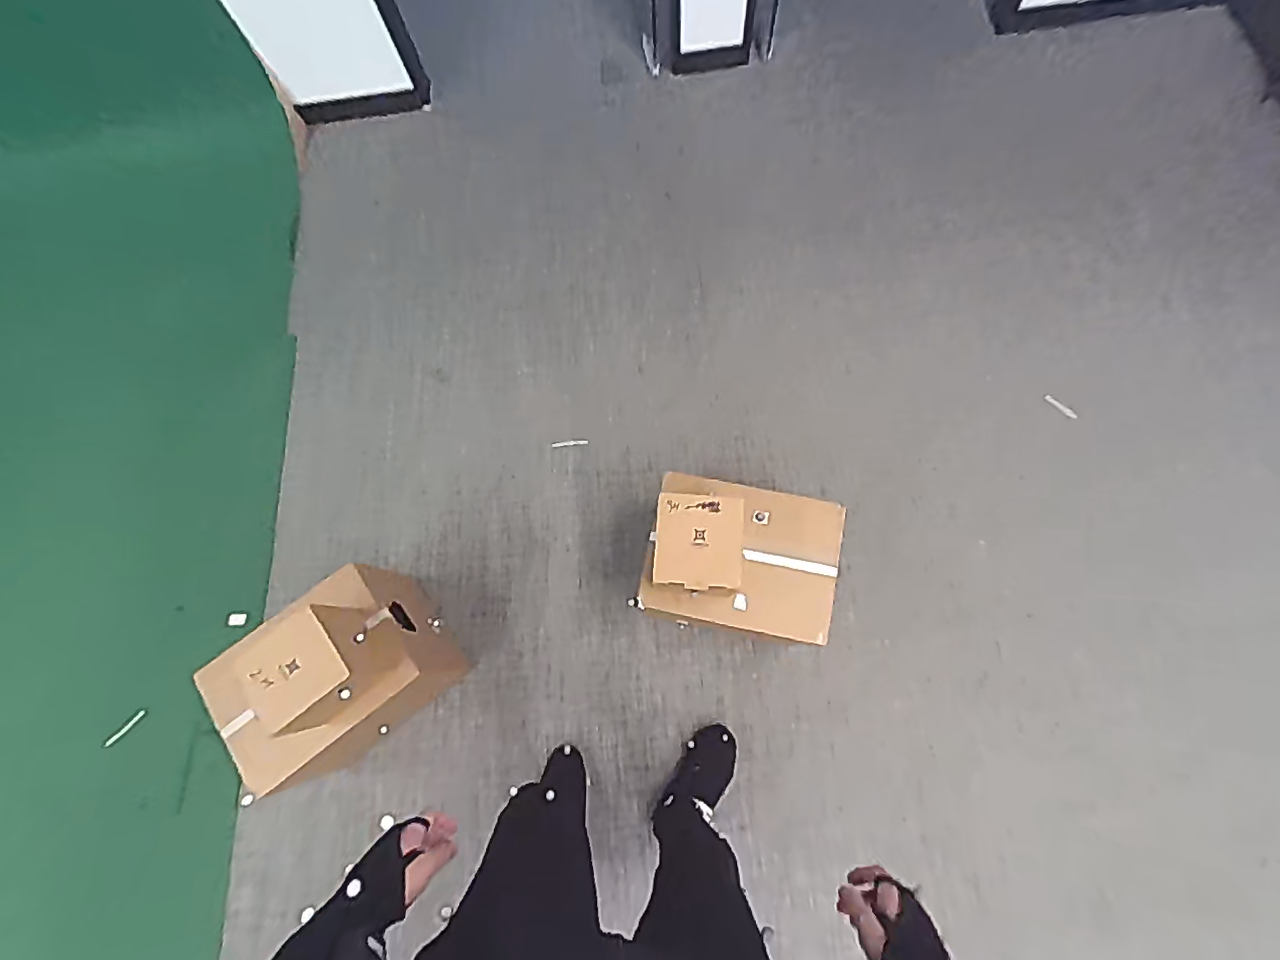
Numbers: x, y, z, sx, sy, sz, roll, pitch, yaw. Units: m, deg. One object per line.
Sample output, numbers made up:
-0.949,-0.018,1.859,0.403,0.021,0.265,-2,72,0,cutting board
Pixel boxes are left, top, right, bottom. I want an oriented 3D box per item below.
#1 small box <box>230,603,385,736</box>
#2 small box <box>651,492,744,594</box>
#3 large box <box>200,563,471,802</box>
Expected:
-0.634,0.363,1.060,0.179,0.176,0.168,-38,75,-8,small box
0.114,0.133,1.087,0.168,0.176,0.179,4,74,4,small box
-0.695,0.458,1.294,0.408,0.320,0.320,-38,73,-7,large box
